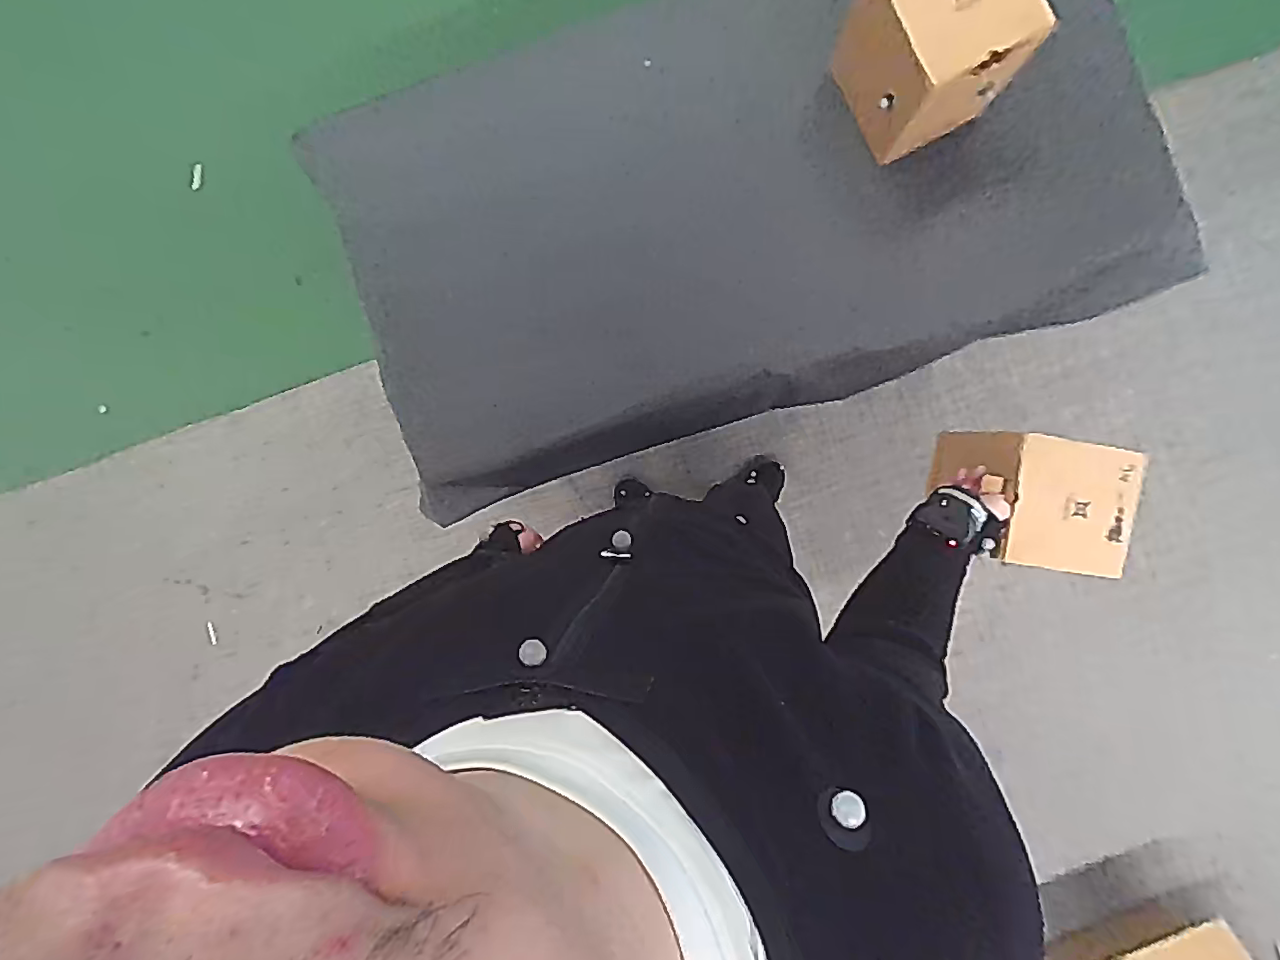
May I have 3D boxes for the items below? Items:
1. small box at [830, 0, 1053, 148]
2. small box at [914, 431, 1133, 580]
[{"bbox_3d":[0.388,-0.589,0.728,0.168,0.176,0.179,-27,89,1],"label":"small box"},{"bbox_3d":[0.524,0.030,0.763,0.179,0.176,0.168,10,92,-9],"label":"small box"}]
